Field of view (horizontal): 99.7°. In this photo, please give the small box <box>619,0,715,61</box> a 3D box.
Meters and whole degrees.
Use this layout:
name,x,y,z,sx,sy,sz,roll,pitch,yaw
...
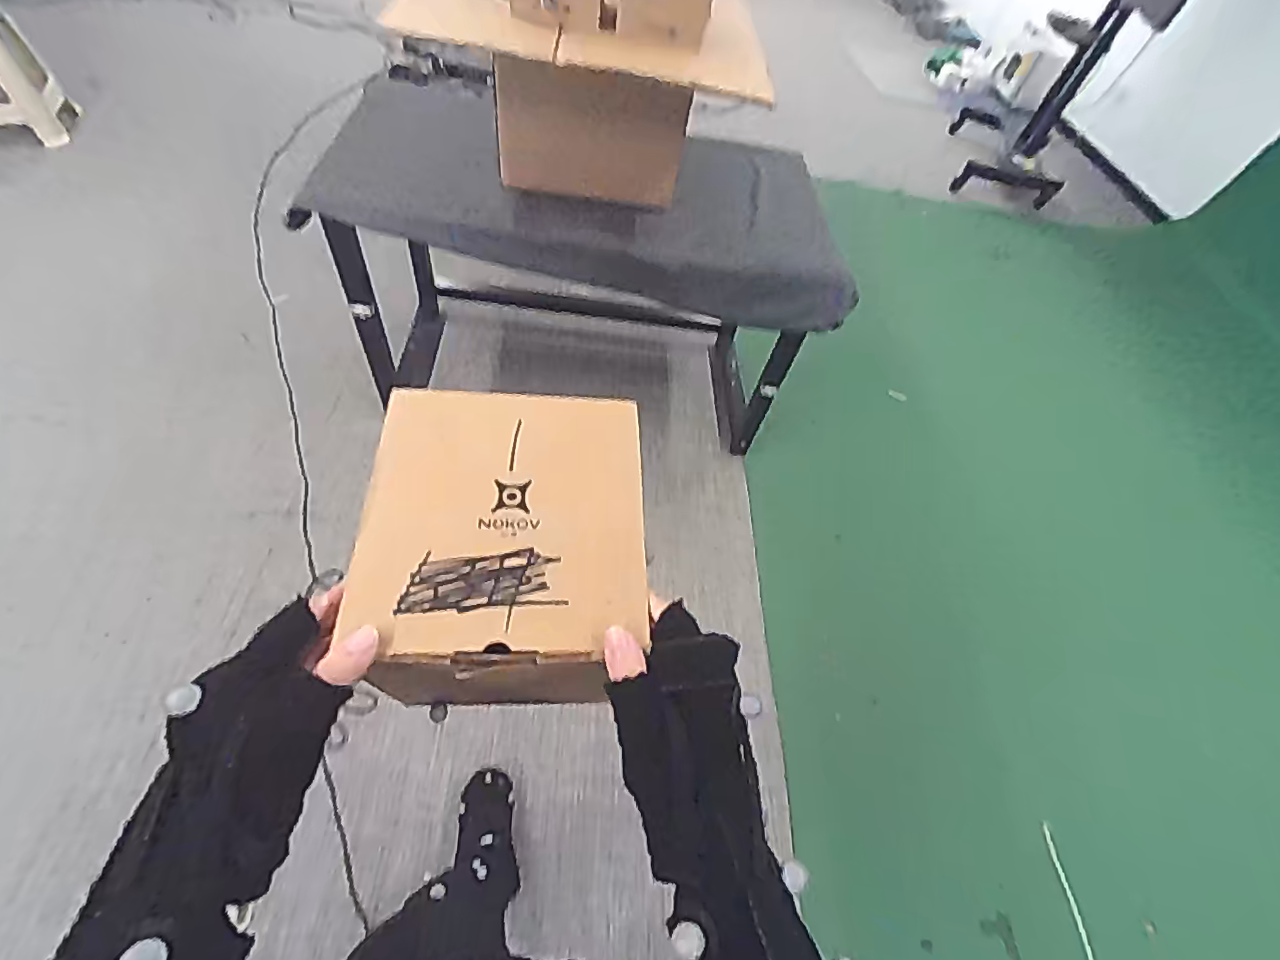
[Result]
name,x,y,z,sx,sy,sz,roll,pitch,yaw
small box,0.054,-0.935,1.020,0.168,0.176,0.179,7,54,-8

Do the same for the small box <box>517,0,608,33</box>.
name,x,y,z,sx,sy,sz,roll,pitch,yaw
small box,-0.137,-0.959,0.985,0.168,0.176,0.179,4,57,-6

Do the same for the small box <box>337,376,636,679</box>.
name,x,y,z,sx,sy,sz,roll,pitch,yaw
small box,-0.093,0.047,0.406,0.168,0.176,0.179,2,58,-7
